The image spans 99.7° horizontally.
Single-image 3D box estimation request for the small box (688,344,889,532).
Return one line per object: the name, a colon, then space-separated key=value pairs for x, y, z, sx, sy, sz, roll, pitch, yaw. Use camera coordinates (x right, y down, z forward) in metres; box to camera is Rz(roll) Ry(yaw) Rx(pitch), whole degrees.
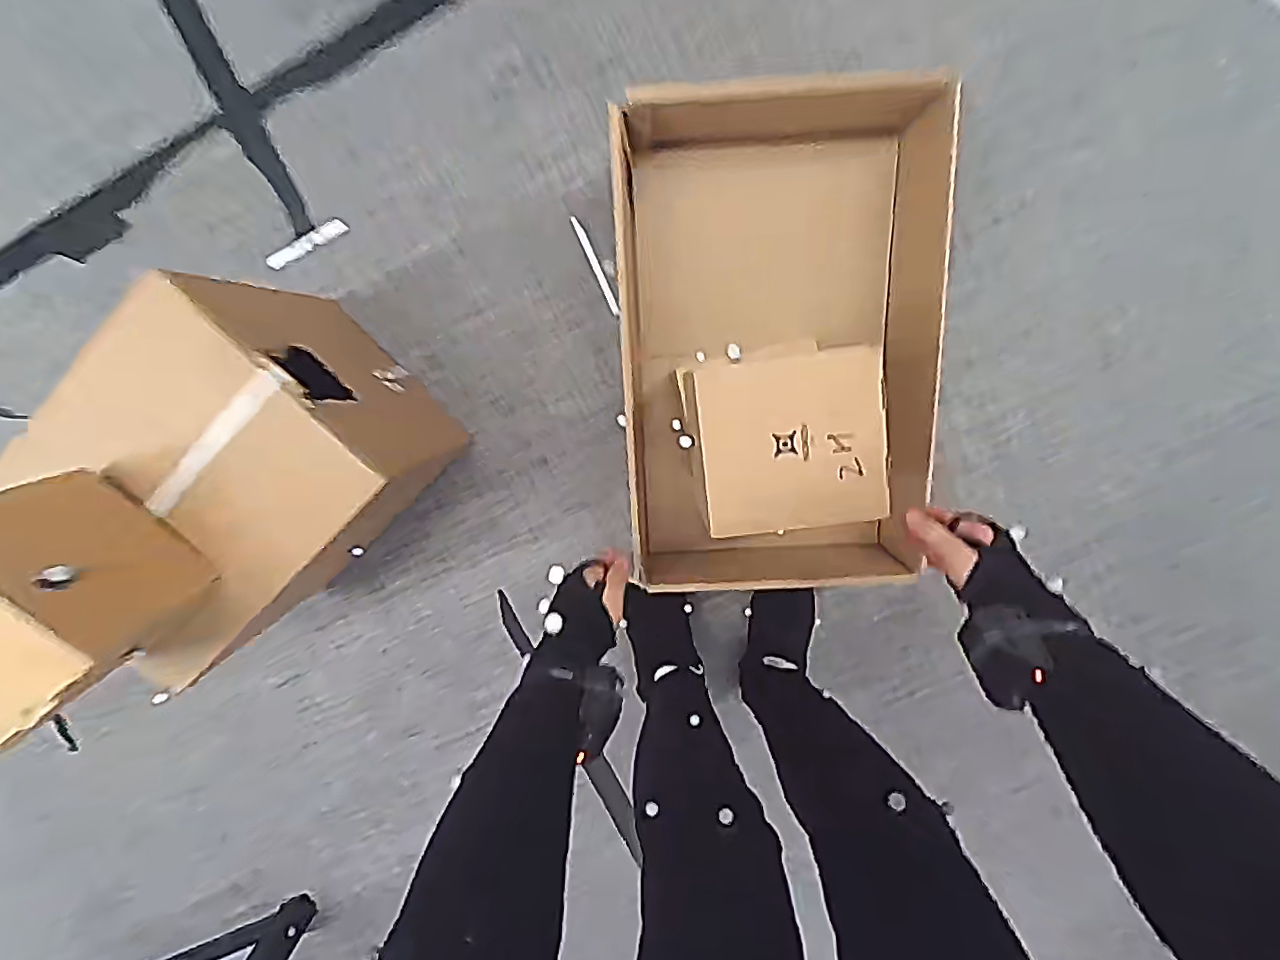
small box: x=0.146 y=-0.049 z=0.588 sx=0.179 sy=0.176 sz=0.168 roll=-7 pitch=100 yaw=2
